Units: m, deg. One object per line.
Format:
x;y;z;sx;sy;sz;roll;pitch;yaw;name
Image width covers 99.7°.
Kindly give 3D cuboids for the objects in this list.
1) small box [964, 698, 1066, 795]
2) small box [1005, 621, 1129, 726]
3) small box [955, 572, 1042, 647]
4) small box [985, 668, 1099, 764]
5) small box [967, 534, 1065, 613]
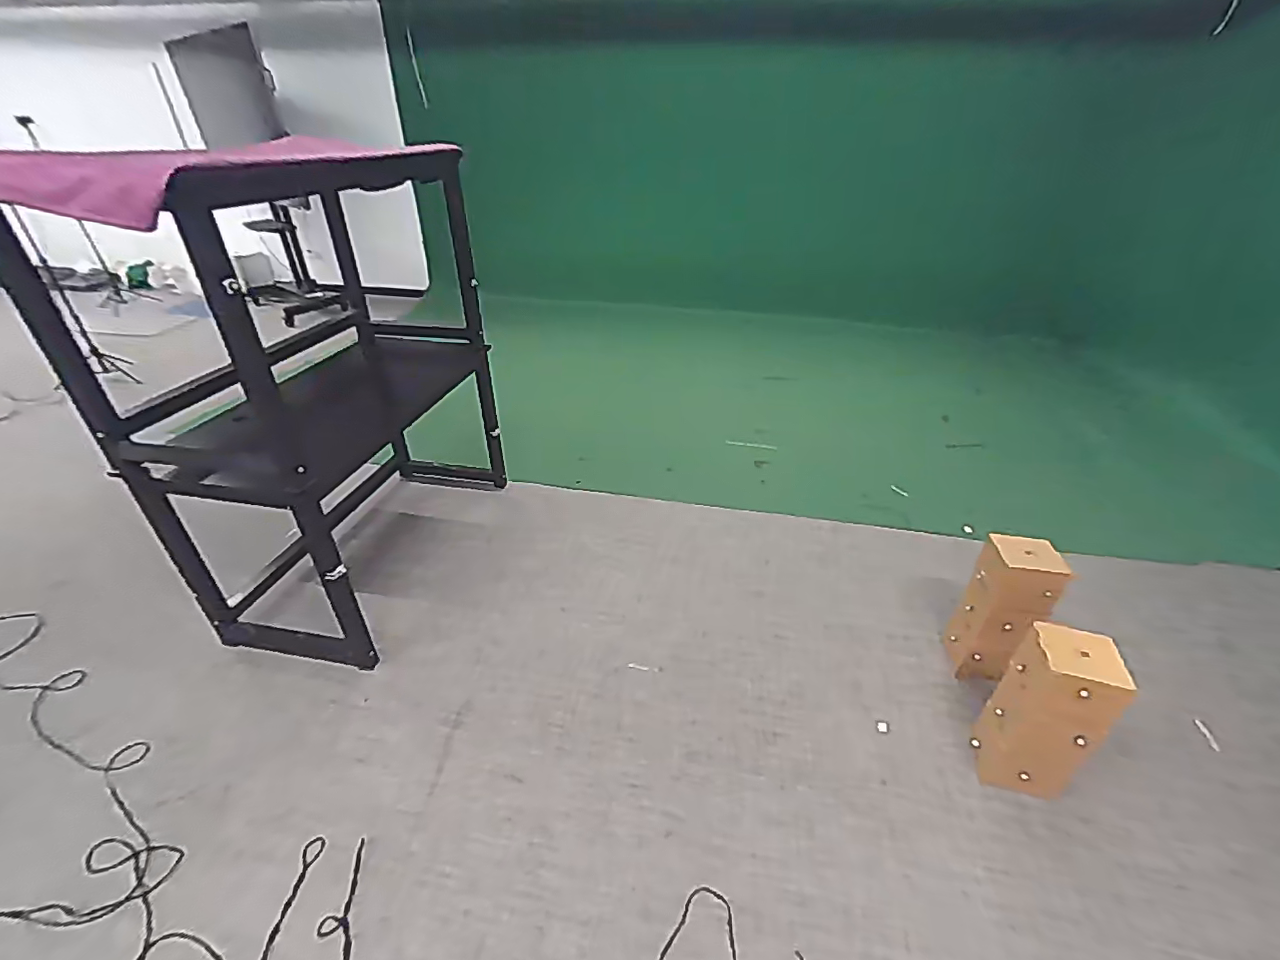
1.065;0.767;1.551;0.179;0.176;0.168;10;34;14;small box
1.069;0.493;1.372;0.179;0.176;0.168;10;35;14;small box
1.160;0.426;1.772;0.179;0.176;0.168;5;33;7;small box
1.071;0.631;1.457;0.179;0.176;0.168;9;34;12;small box
1.158;0.291;1.681;0.179;0.176;0.168;5;32;7;small box
